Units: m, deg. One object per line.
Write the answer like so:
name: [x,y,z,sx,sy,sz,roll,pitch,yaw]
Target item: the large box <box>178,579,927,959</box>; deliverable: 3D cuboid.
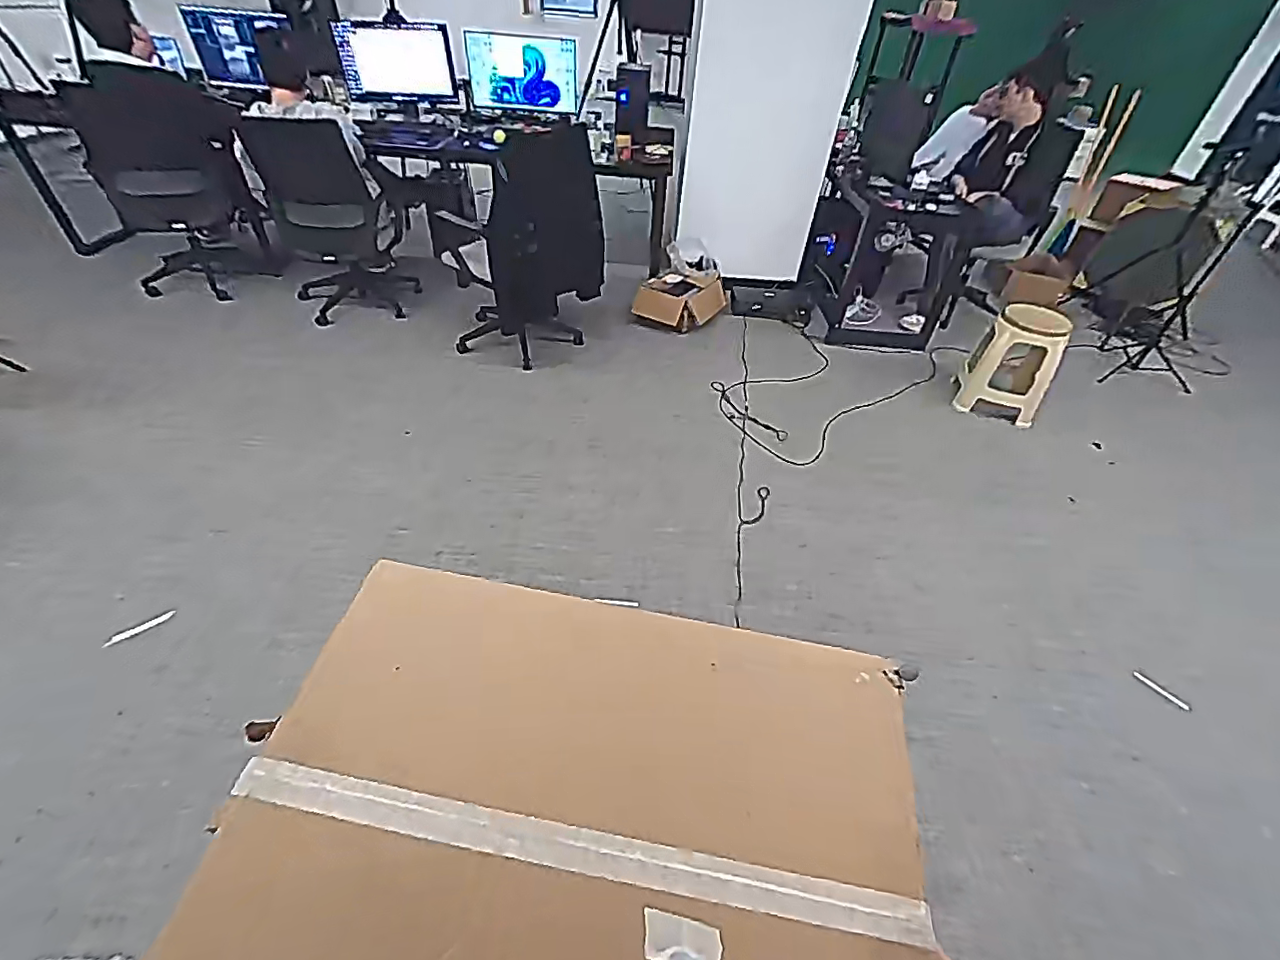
large box: [-0.044,0.319,0.436,0.408,0.320,0.320,10,50,3]
